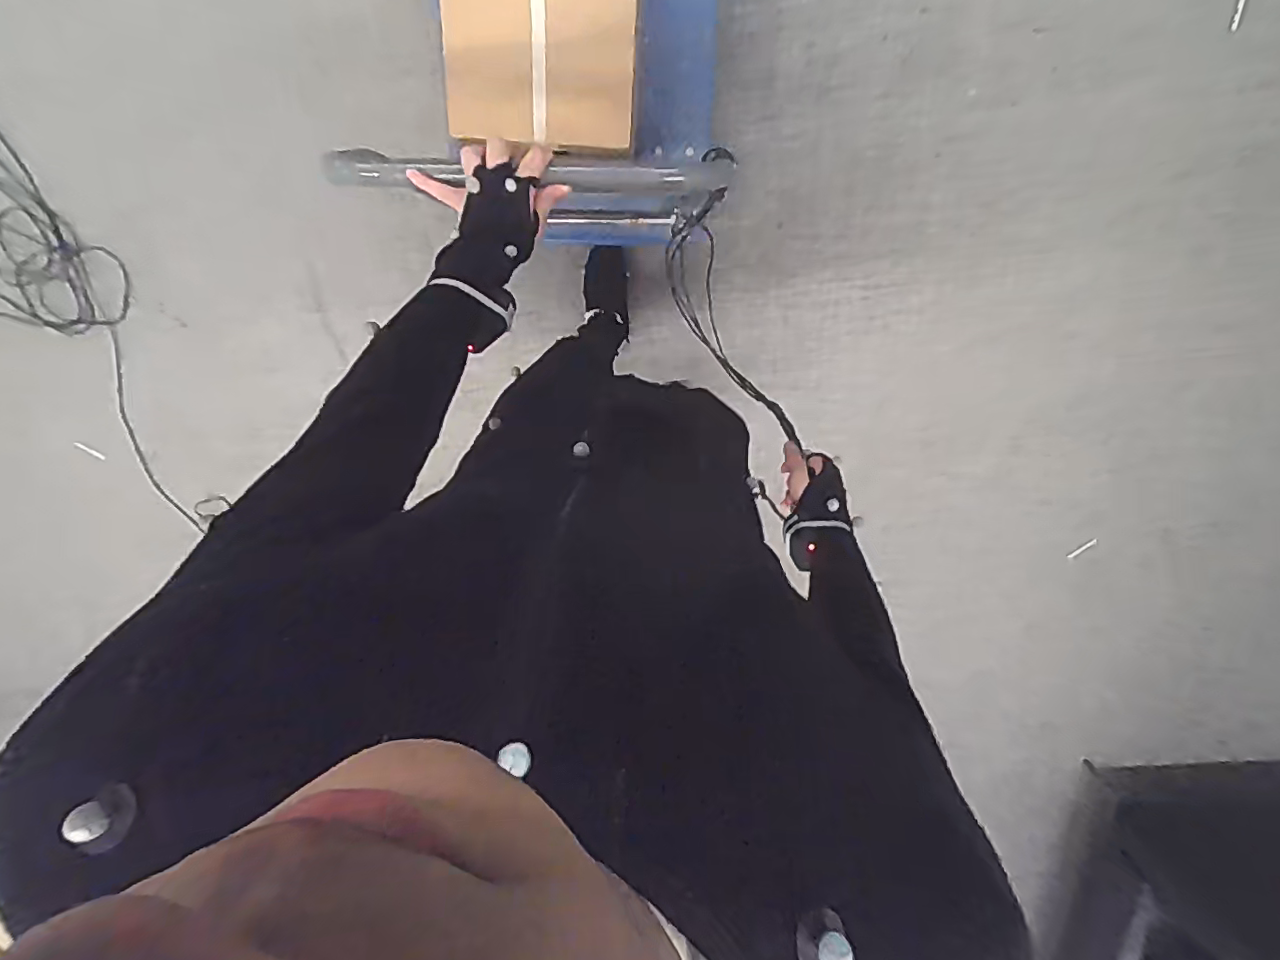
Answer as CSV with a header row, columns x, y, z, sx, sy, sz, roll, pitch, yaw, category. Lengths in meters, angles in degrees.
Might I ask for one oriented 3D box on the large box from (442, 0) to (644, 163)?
x,y,z,sx,sy,sz,roll,pitch,yaw,category
-0.152,-0.824,0.969,0.320,0.320,0.408,3,113,-1,large box
